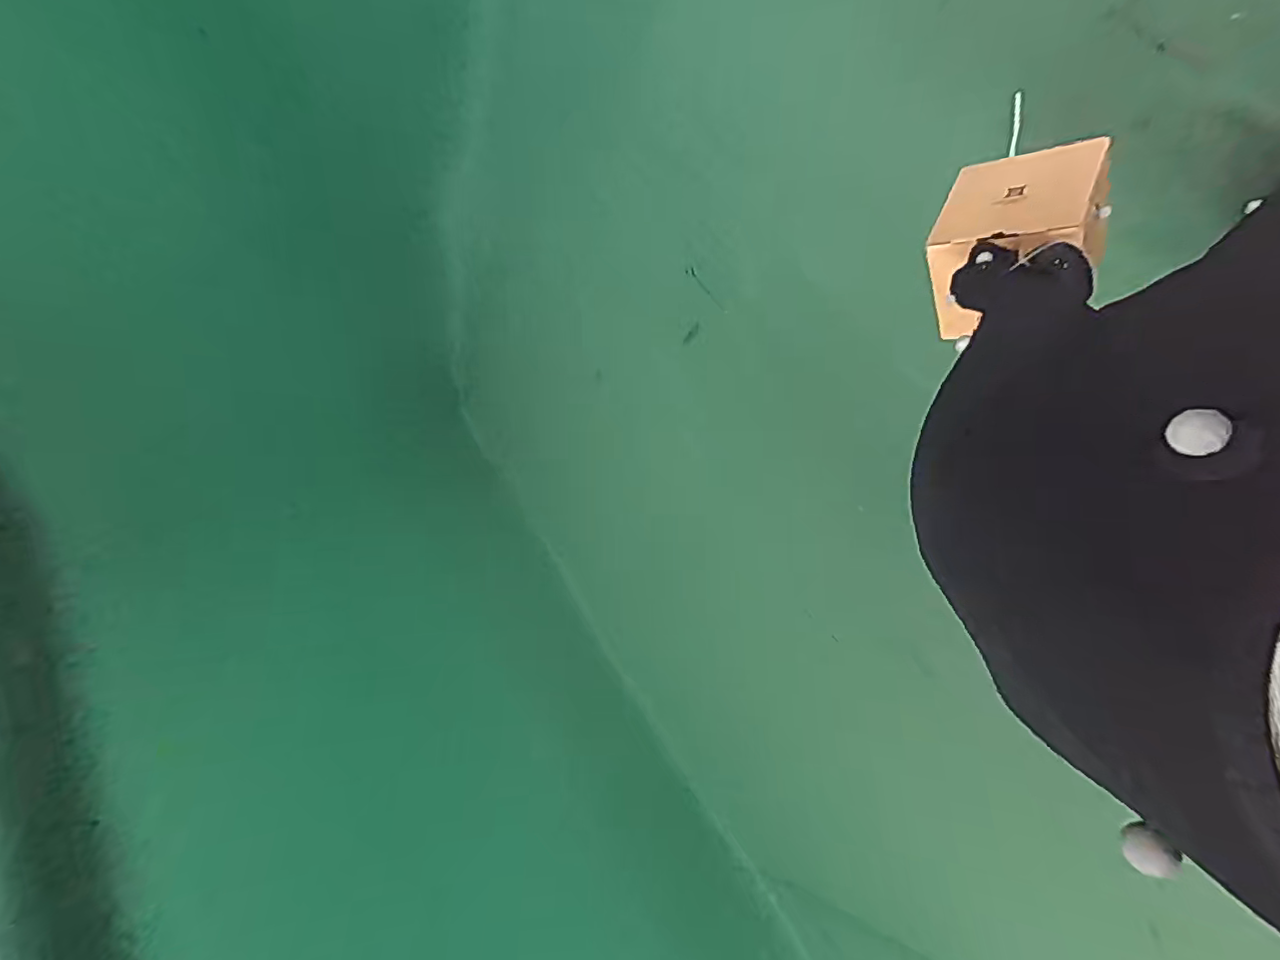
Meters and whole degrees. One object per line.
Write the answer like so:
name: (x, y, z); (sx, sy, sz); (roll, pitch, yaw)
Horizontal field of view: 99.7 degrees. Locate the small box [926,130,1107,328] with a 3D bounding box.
small box: (0.521, -0.335, 0.753); (0.168, 0.179, 0.176); (12, 154, 43)
